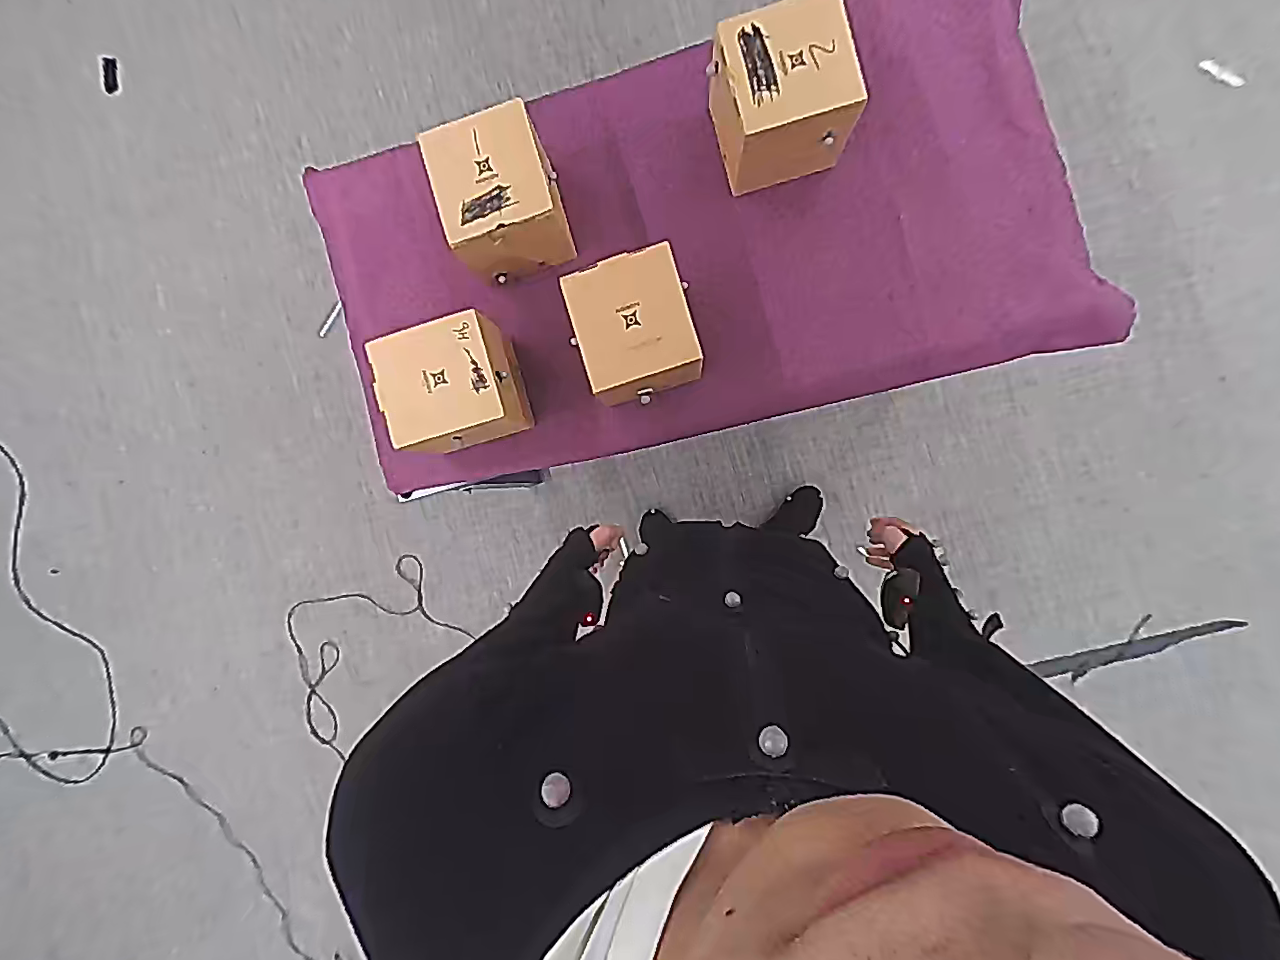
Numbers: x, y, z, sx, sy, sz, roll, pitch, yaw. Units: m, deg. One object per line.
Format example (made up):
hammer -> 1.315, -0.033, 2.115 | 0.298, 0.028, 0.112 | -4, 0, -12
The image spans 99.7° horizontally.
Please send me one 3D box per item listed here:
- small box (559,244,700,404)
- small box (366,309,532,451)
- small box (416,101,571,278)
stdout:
small box -> -0.011, -0.231, 0.846 | 0.168, 0.176, 0.179 | -17, 90, 5
small box -> -0.294, -0.147, 0.866 | 0.179, 0.176, 0.168 | -16, 89, 5
small box -> -0.221, -0.443, 0.863 | 0.168, 0.176, 0.179 | -17, 88, 4
